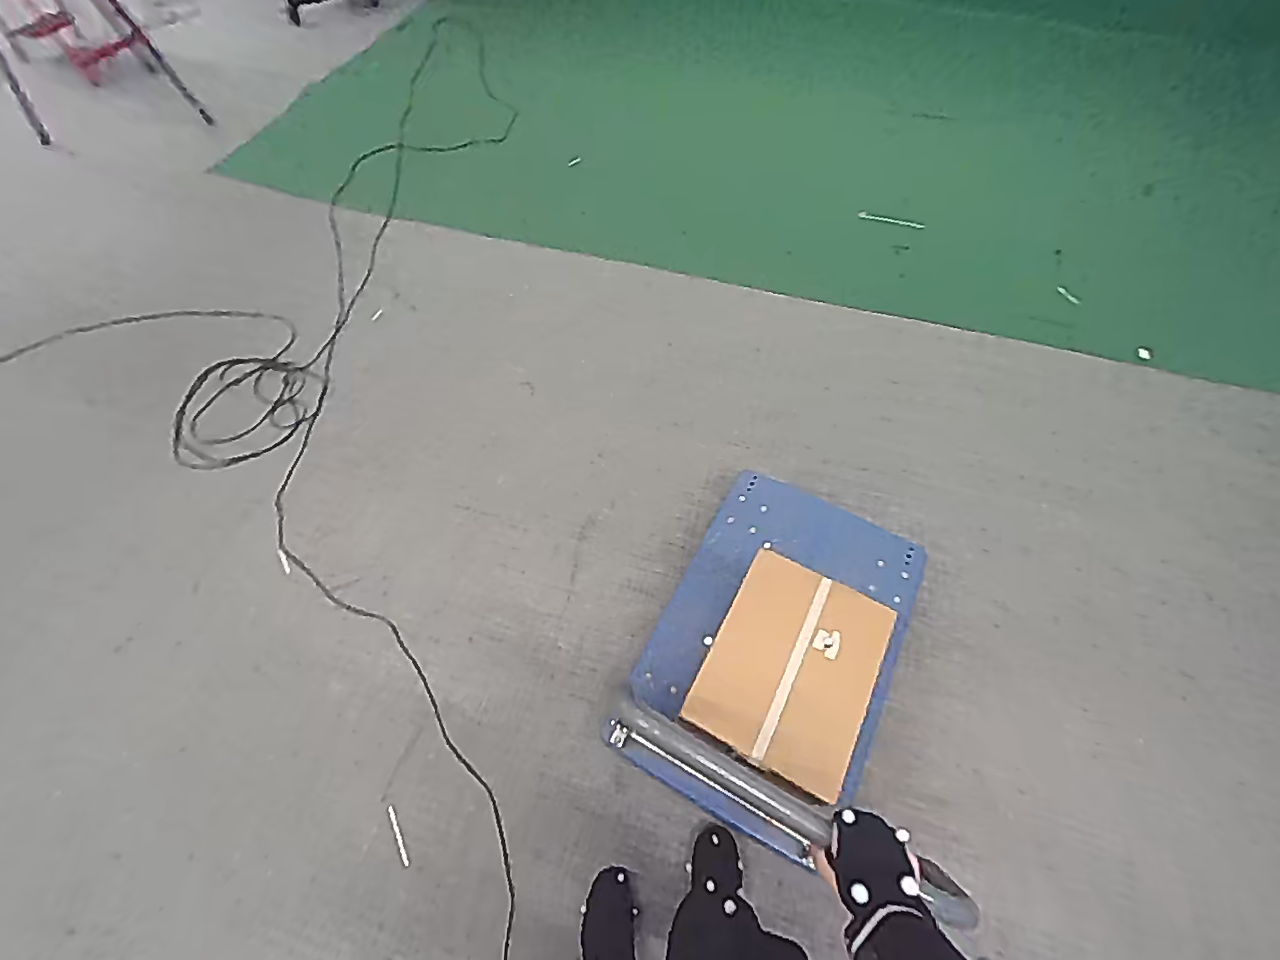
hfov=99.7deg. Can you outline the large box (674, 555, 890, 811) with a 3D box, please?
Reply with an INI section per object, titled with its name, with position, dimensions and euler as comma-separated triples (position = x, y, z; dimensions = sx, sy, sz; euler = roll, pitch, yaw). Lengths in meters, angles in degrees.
[large box]
position = 0.300, 0.456, 1.209
dimensions = 0.320, 0.320, 0.408
euler = 26, 62, 14
